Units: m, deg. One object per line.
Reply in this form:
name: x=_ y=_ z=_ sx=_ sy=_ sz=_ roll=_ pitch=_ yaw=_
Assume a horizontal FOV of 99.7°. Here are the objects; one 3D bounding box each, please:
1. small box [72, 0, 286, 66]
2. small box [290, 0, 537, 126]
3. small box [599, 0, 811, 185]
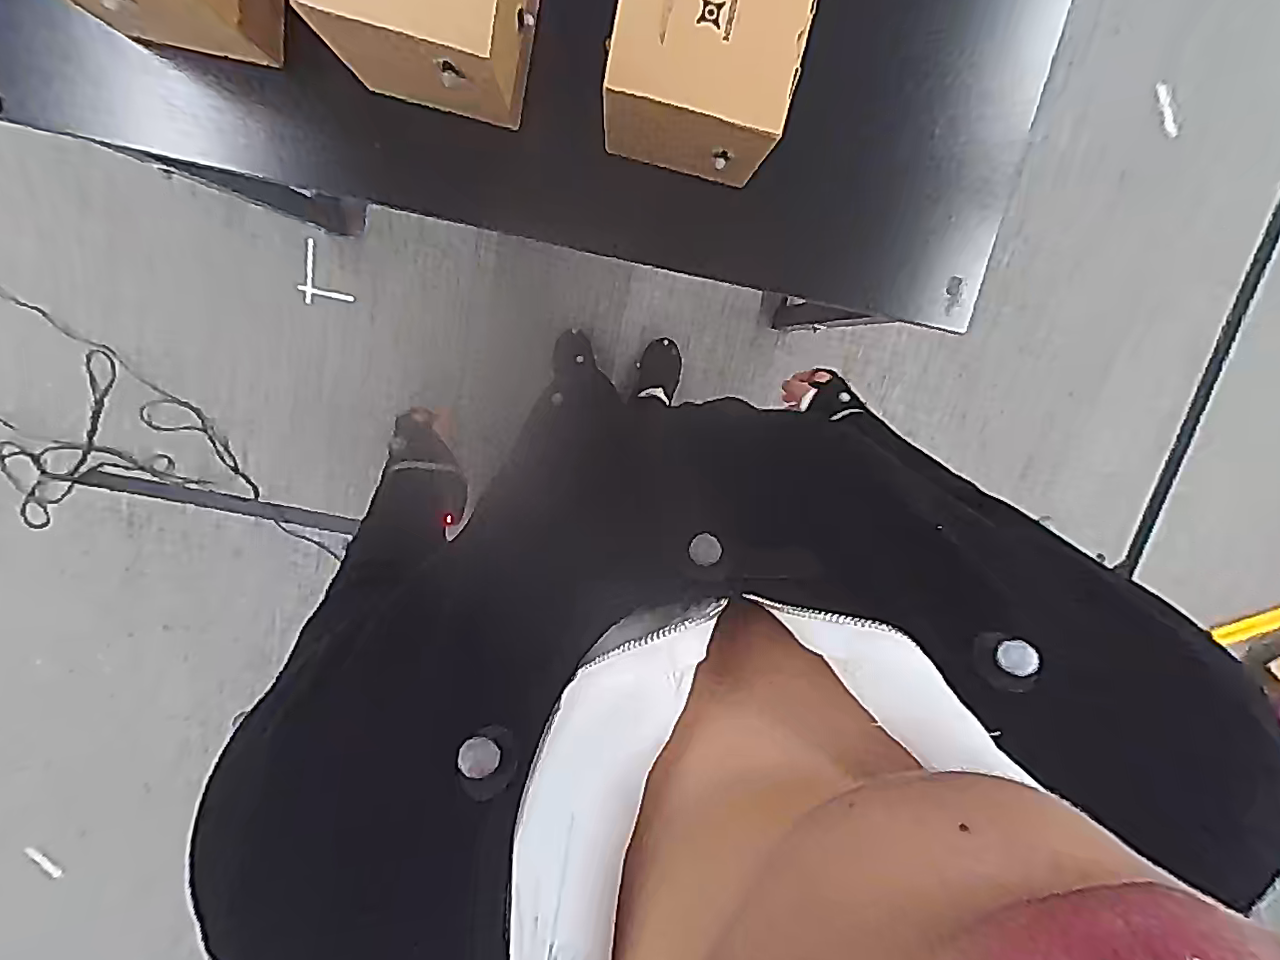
small box: x=-0.475 y=-0.537 z=0.514 sx=0.179 sy=0.176 sz=0.168 roll=8 pitch=103 yaw=-5
small box: x=-0.207 y=-0.488 z=0.540 sx=0.179 sy=0.176 sz=0.168 roll=12 pitch=102 yaw=-6
small box: x=0.060 y=-0.435 z=0.570 sx=0.179 sy=0.176 sz=0.168 roll=11 pitch=101 yaw=-5
